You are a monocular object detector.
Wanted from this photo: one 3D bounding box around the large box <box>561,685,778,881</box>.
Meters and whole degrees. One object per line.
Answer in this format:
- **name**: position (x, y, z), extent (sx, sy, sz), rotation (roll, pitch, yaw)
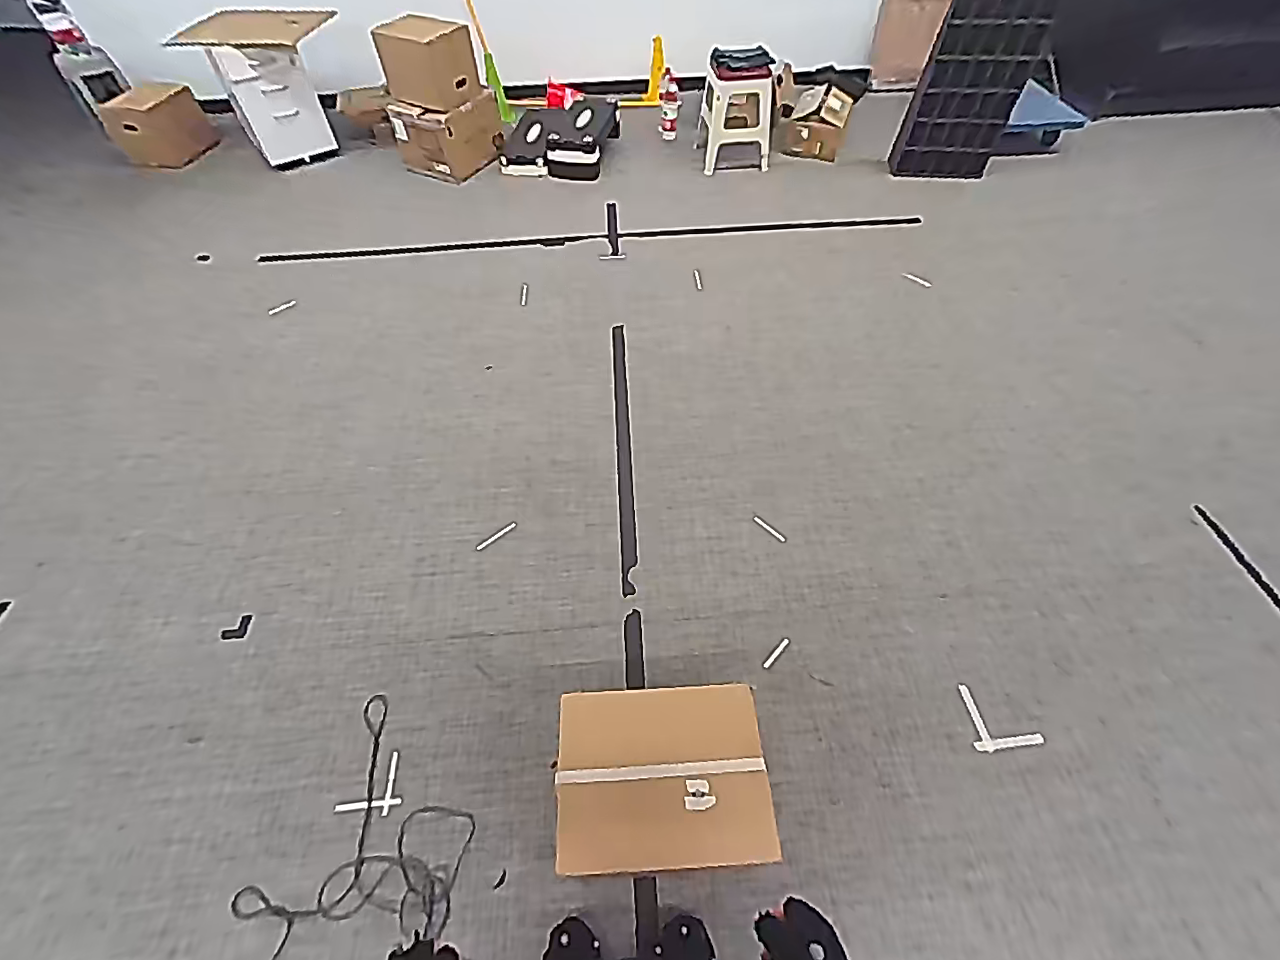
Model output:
- **large box**: position (0.045, 0.664, 1.179), extent (0.408, 0.320, 0.320), rotation (-3, 53, -2)
